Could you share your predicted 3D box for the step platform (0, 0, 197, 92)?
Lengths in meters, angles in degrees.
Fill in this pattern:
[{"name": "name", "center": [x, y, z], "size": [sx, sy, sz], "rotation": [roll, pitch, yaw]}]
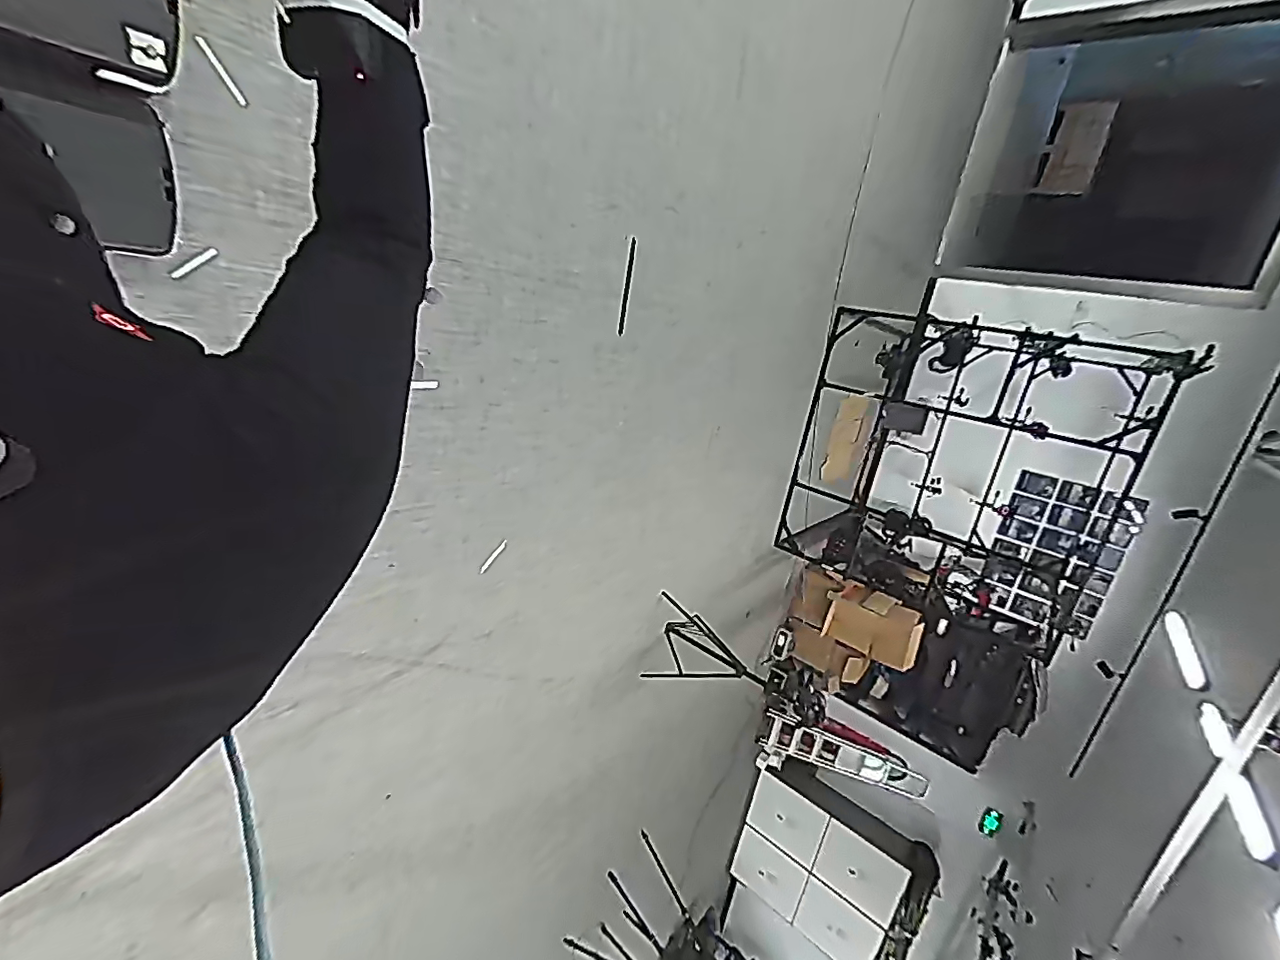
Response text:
[{"name": "step platform", "center": [-1.055, -0.824, 0.749], "size": [0.684, 0.204, 0.286], "rotation": [-15, 120, -51]}]
